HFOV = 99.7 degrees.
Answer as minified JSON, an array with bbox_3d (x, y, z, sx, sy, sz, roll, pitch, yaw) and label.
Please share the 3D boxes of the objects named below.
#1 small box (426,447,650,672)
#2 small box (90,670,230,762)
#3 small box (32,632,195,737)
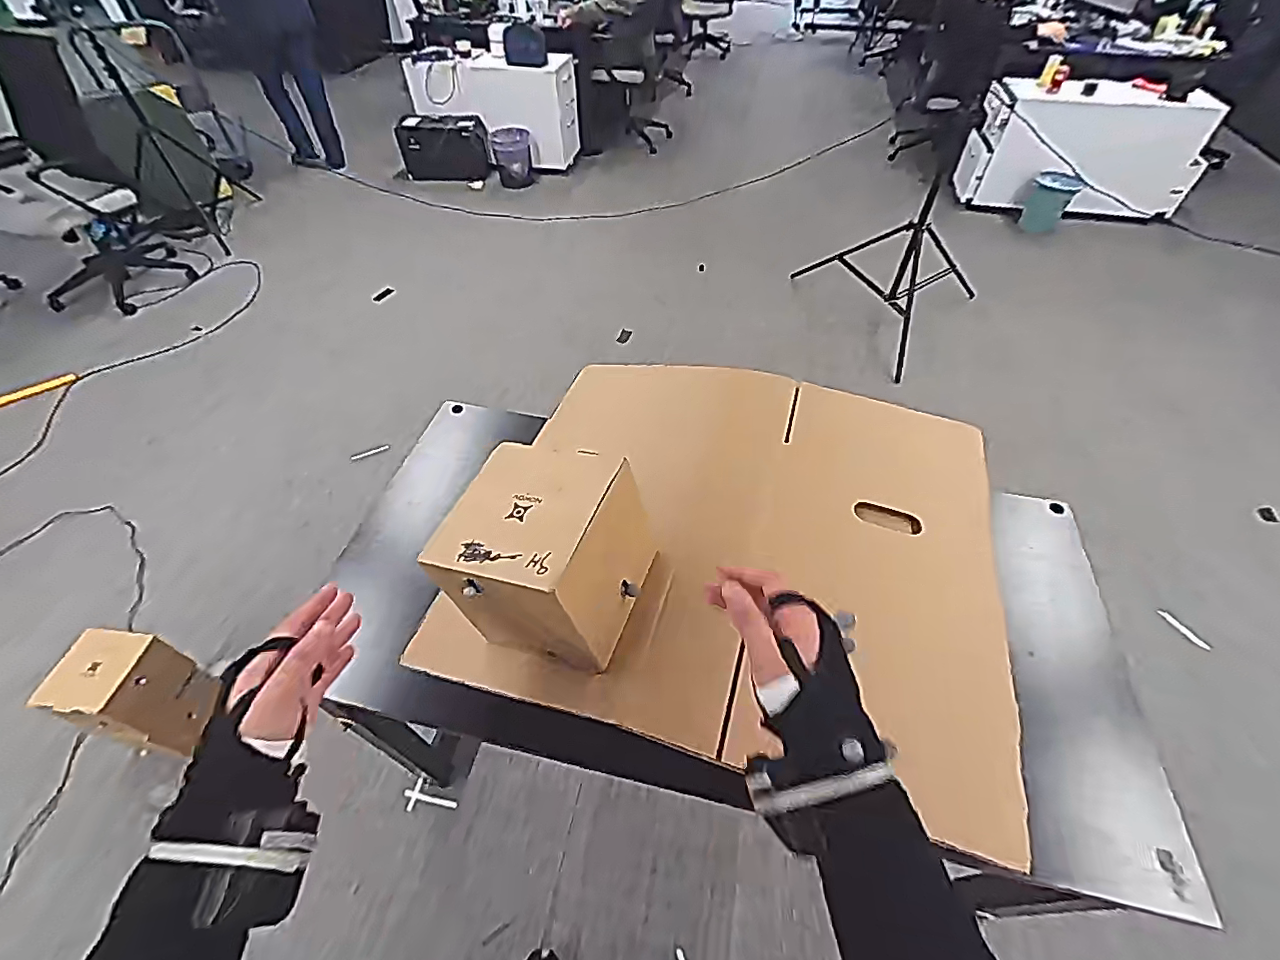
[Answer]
[{"bbox_3d":[-0.098,0.087,0.620,0.168,0.176,0.179,7,48,24],"label":"small box"},{"bbox_3d":[-1.191,0.586,1.365,0.168,0.176,0.179,6,50,6],"label":"small box"},{"bbox_3d":[-1.192,0.475,1.245,0.168,0.176,0.179,5,48,3],"label":"small box"}]
